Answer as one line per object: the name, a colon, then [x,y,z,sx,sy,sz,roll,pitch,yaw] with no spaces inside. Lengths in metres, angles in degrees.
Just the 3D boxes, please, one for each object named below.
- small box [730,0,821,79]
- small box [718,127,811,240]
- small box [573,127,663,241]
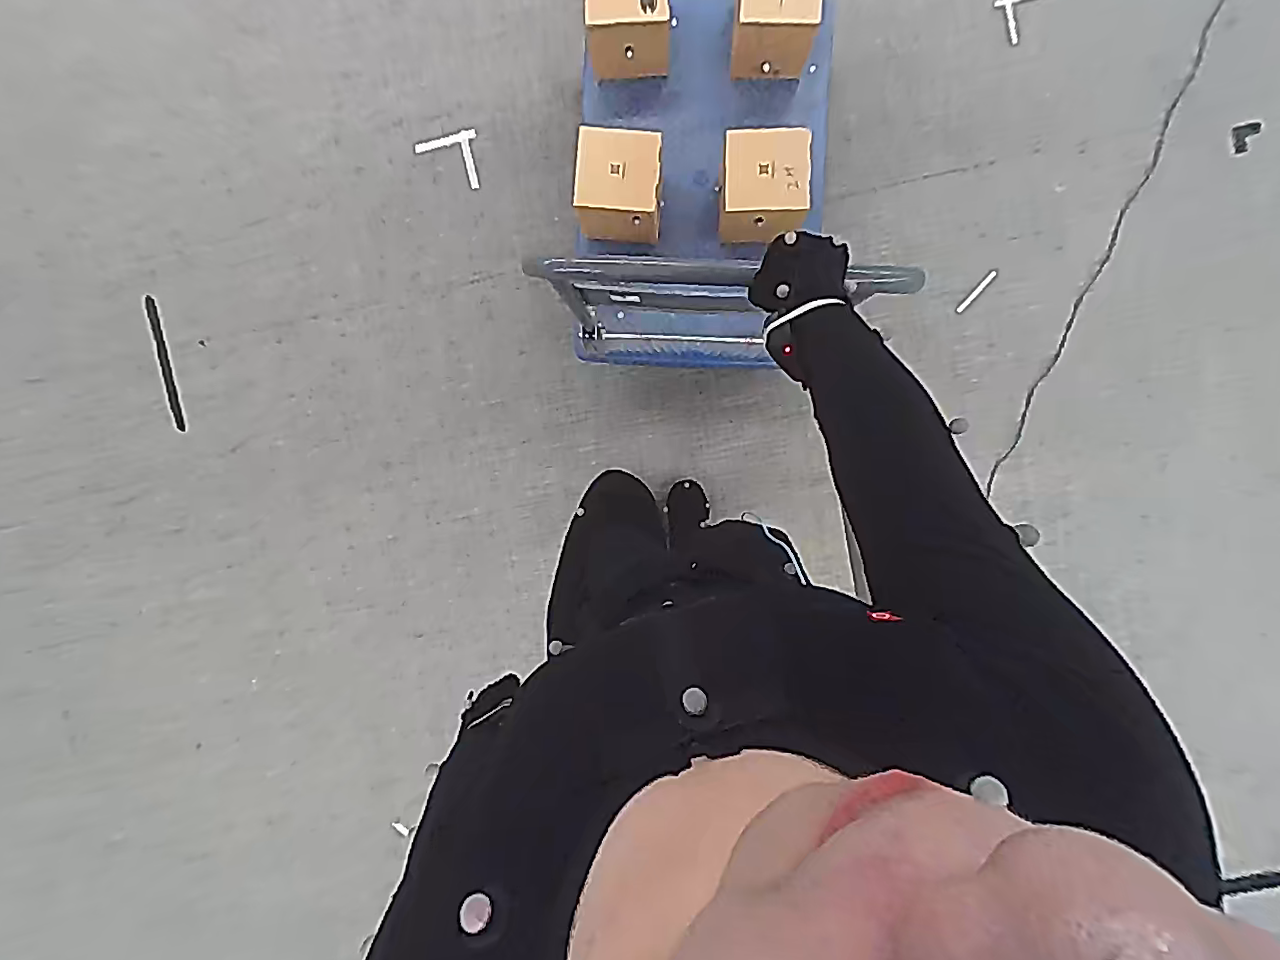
small box: [0.289,-1.016,1.167,0.168,0.176,0.179,3,94,3]
small box: [0.265,-0.641,1.187,0.179,0.176,0.168,0,93,3]
small box: [-0.044,-0.649,1.203,0.179,0.176,0.168,5,93,1]
